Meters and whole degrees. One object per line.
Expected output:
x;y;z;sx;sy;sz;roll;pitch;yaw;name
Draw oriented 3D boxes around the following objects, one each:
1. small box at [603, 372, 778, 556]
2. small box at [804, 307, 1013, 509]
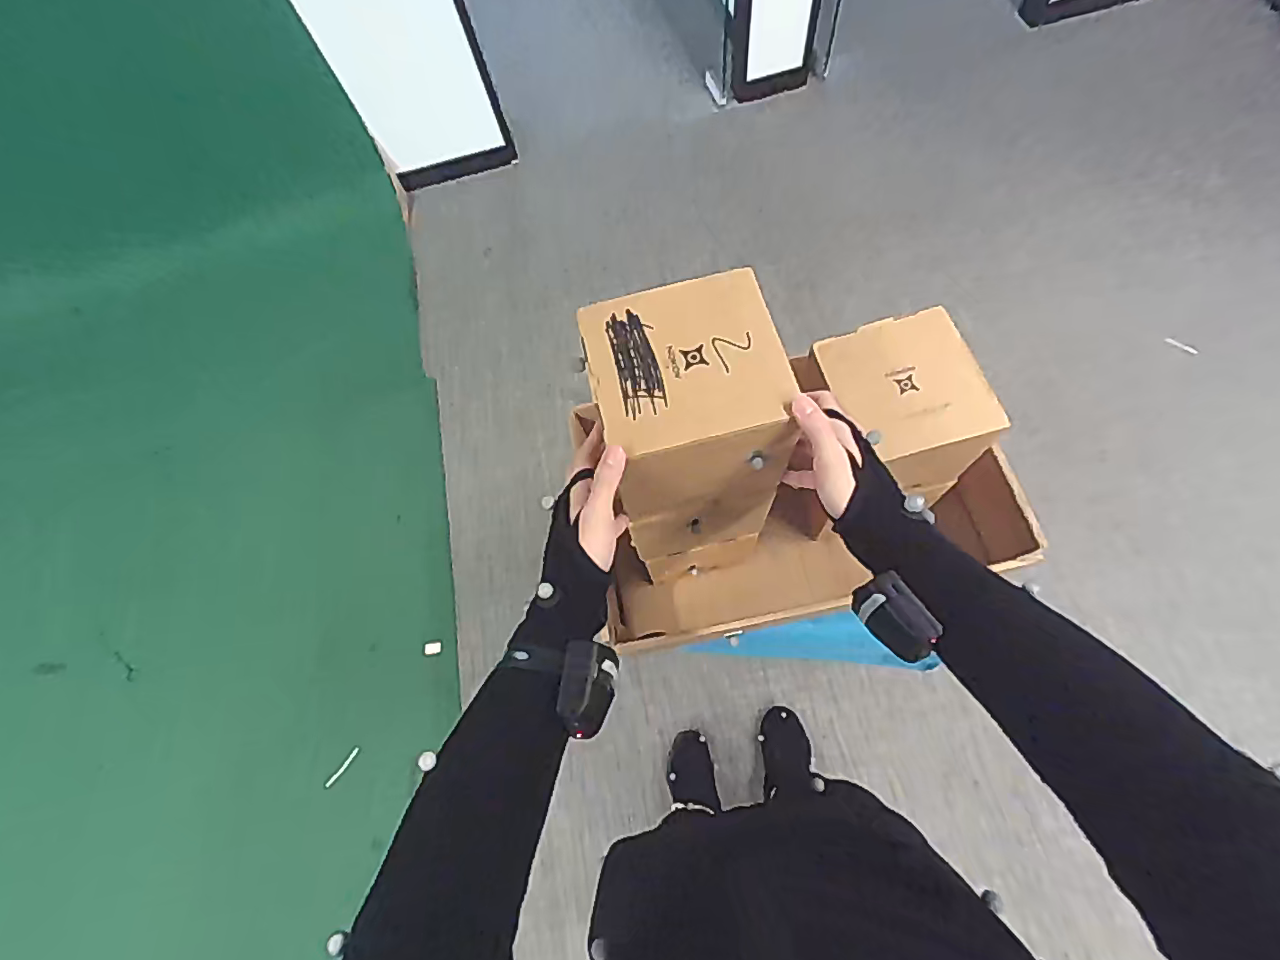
0.063;-0.010;0.704;0.179;0.176;0.168;-14;68;0;small box
0.322;-0.084;0.697;0.168;0.176;0.179;-15;67;4;small box
